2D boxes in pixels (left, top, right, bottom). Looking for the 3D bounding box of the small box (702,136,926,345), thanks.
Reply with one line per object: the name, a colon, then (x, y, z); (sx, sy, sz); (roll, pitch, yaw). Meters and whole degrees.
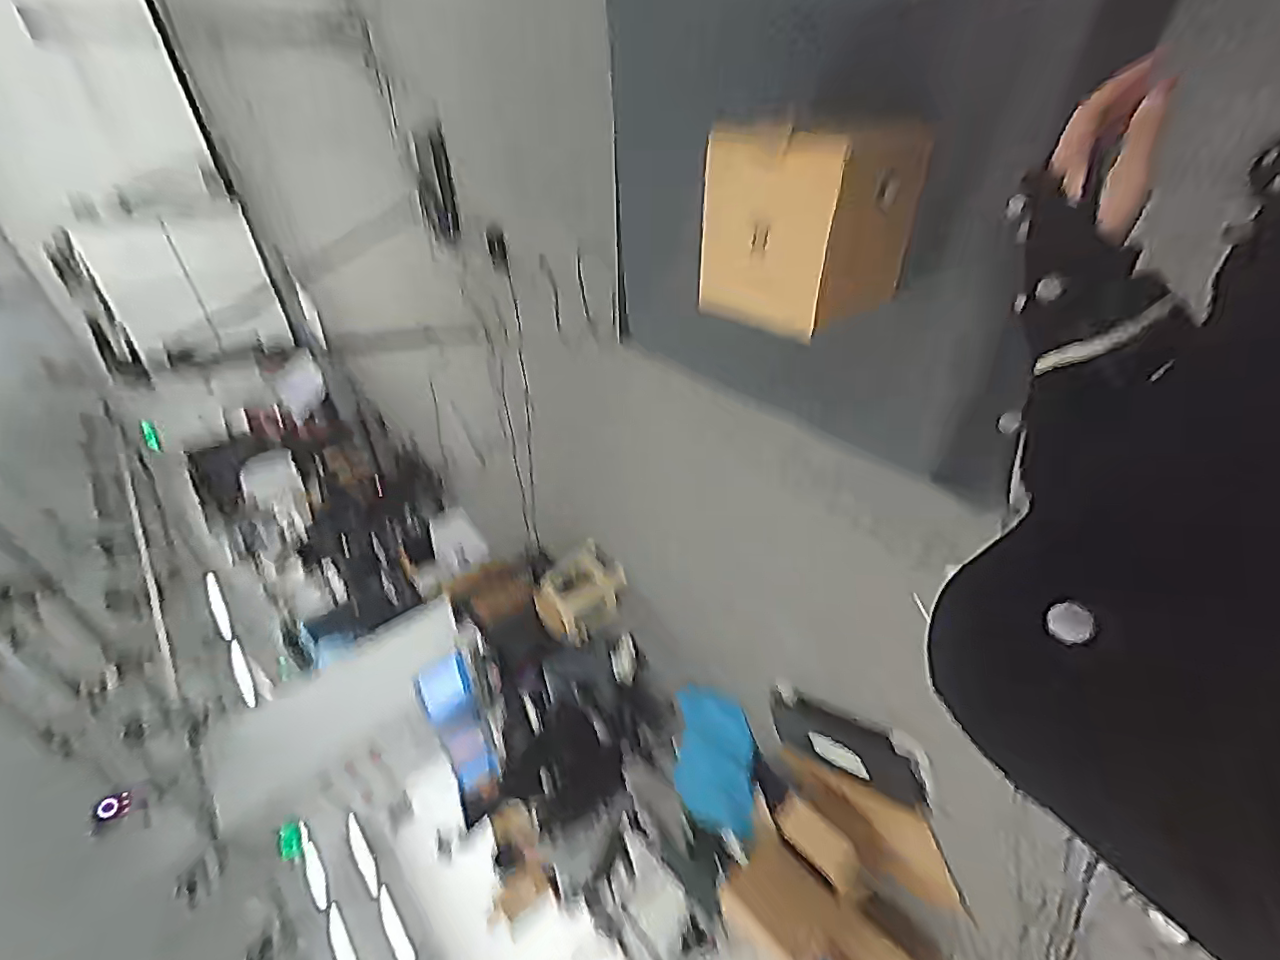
small box: (0.189, -0.278, 0.606); (0.168, 0.176, 0.179); (34, 139, 39)
